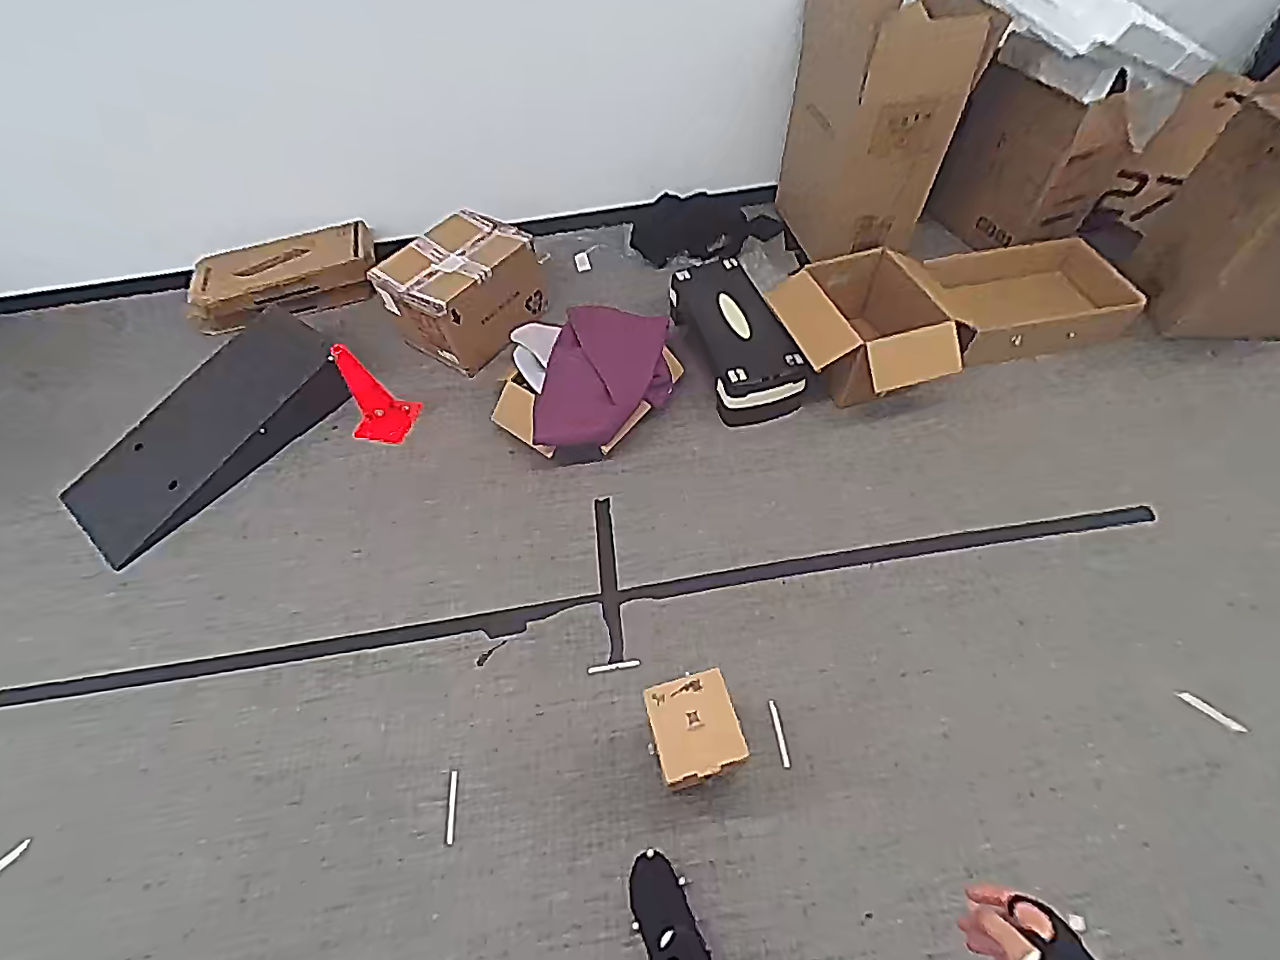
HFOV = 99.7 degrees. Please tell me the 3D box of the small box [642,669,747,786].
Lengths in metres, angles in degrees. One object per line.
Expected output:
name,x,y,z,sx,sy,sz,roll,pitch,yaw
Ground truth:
small box,0.110,0.516,1.113,0.168,0.176,0.179,-15,56,-5
